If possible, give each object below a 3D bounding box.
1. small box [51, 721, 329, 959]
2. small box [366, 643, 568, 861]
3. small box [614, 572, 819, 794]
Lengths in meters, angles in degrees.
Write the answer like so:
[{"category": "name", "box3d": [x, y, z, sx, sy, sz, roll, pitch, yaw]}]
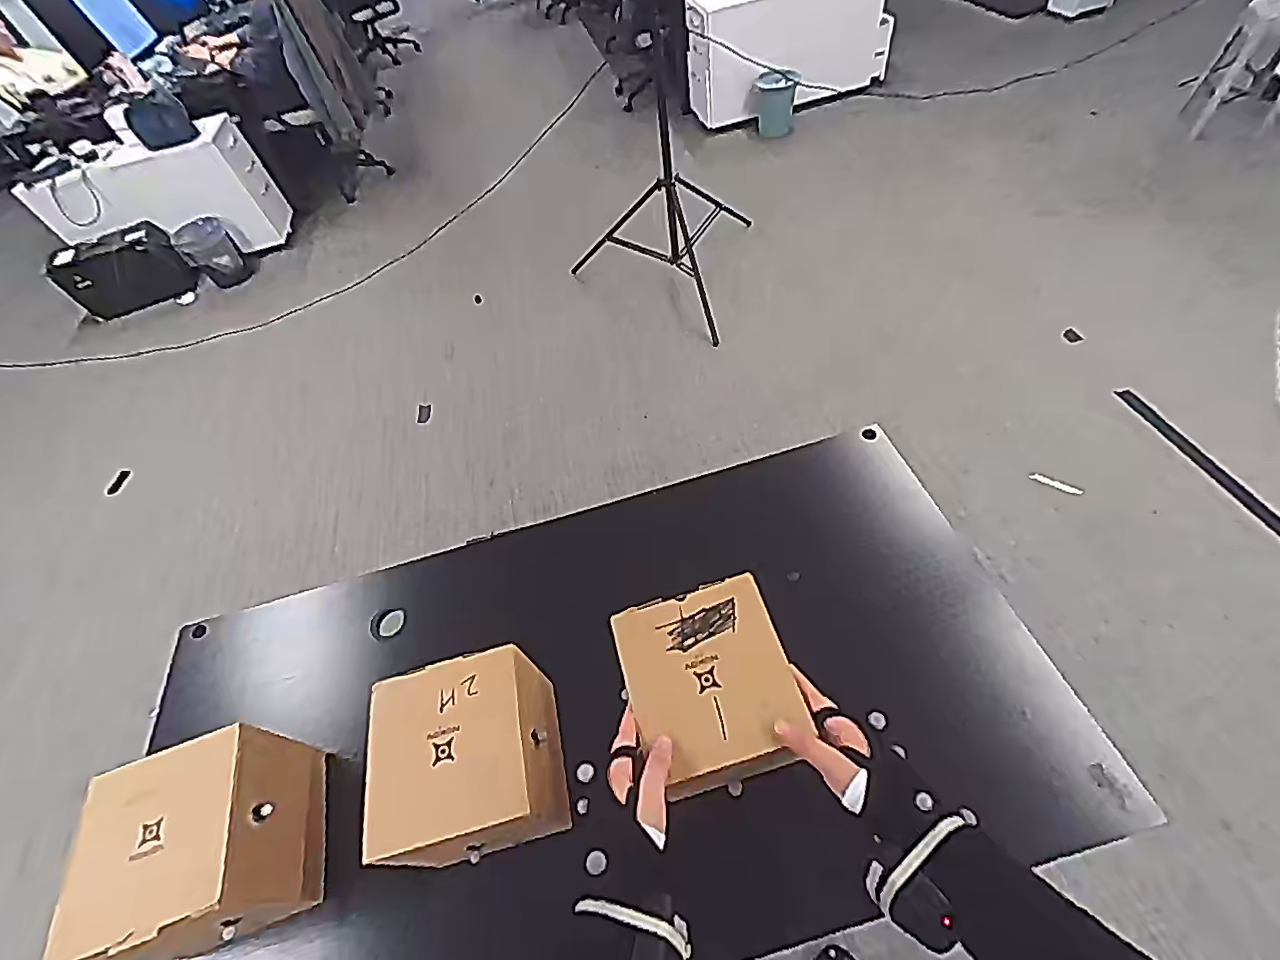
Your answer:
[{"category": "small box", "box3d": [-0.484, 0.409, 0.618, 0.168, 0.176, 0.179, -20, 52, -6]}, {"category": "small box", "box3d": [-0.190, 0.319, 0.629, 0.168, 0.176, 0.179, -15, 53, -2]}, {"category": "small box", "box3d": [0.079, 0.233, 0.611, 0.168, 0.176, 0.179, -17, 57, -1]}]
